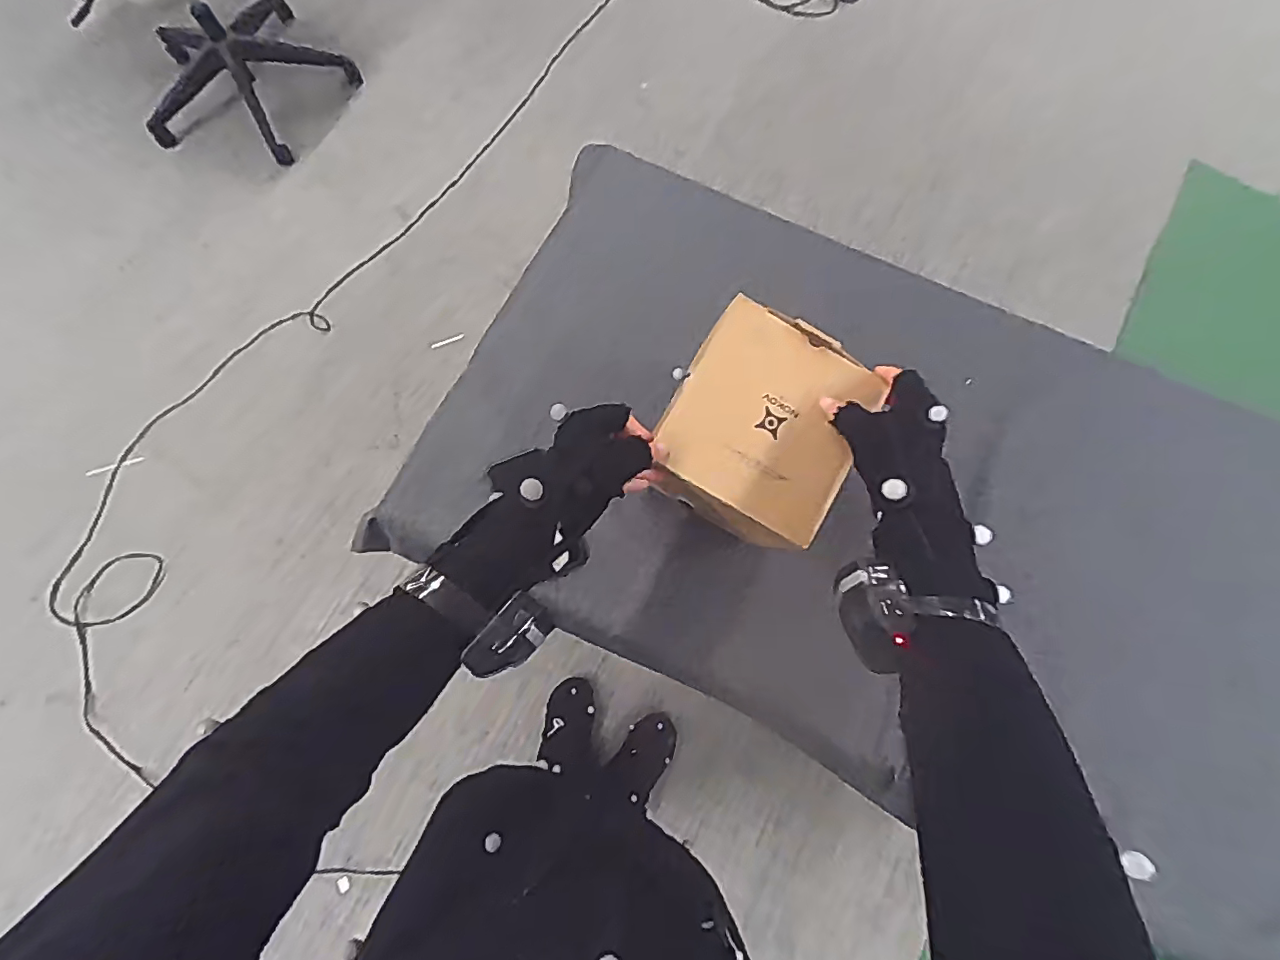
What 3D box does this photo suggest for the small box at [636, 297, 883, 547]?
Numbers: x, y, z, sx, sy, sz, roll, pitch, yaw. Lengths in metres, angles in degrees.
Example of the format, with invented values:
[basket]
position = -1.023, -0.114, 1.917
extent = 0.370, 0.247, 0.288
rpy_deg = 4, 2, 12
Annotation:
[small box]
position = 0.106, -0.047, 0.562
extent = 0.168, 0.176, 0.179
rpy_deg = 30, 84, -2
